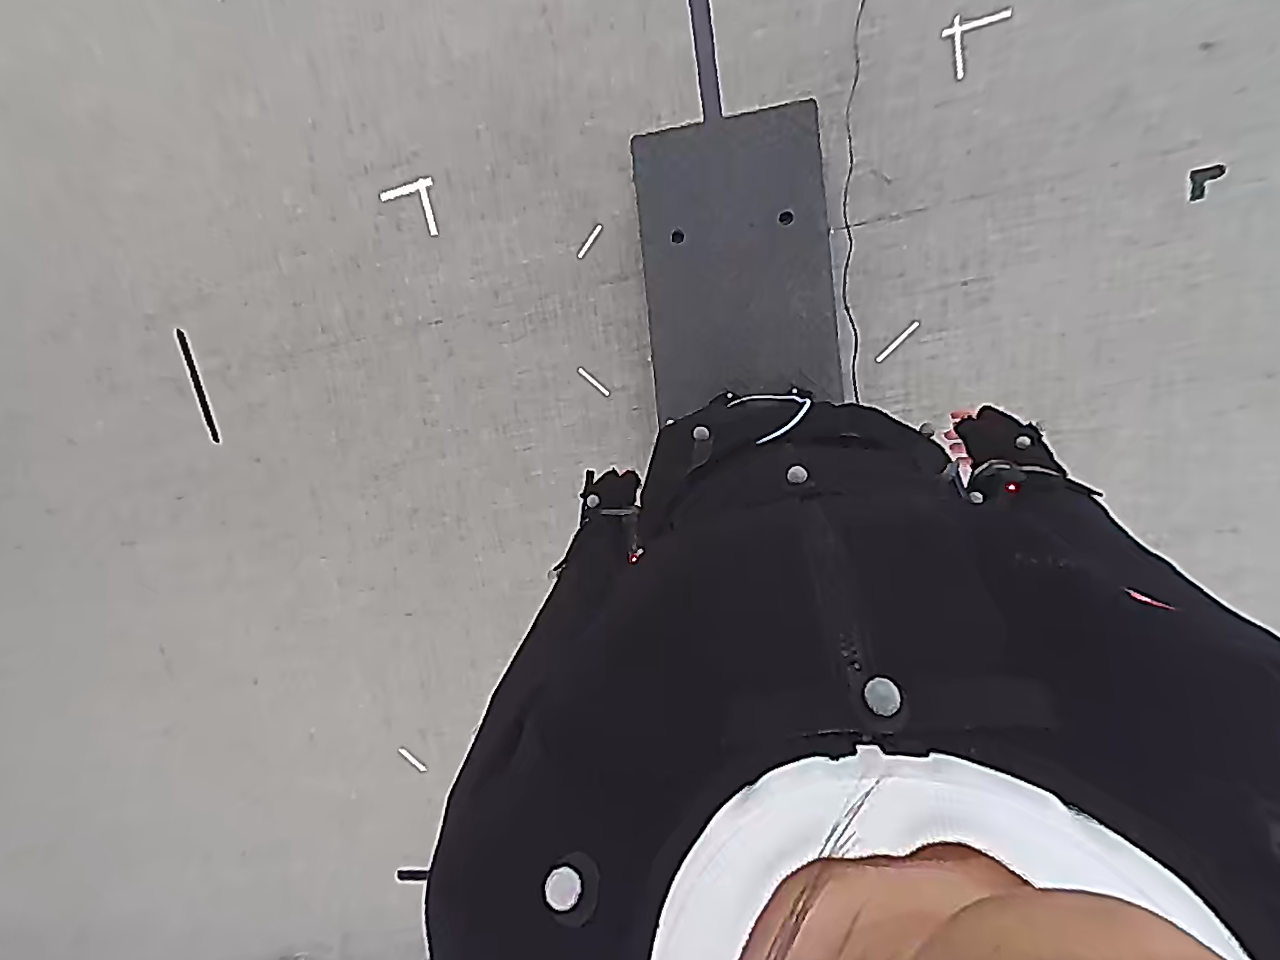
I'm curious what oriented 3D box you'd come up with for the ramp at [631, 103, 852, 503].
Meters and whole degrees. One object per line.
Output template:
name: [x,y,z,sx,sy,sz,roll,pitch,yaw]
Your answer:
ramp: [0.259,-0.453,1.441,0.509,0.206,0.991,-7,100,12]
